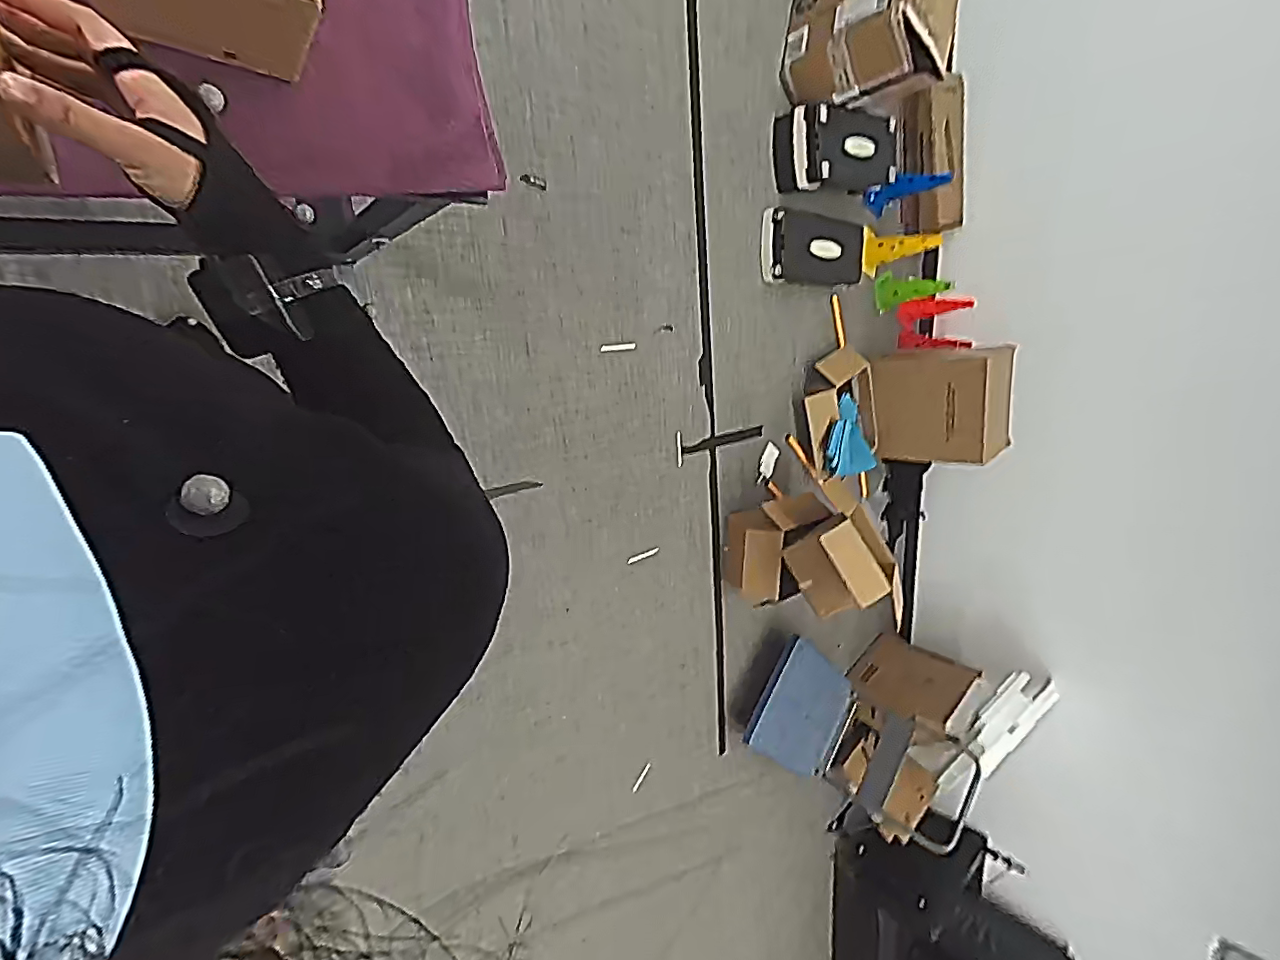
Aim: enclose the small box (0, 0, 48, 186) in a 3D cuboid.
[{"bbox_3d":[-0.433,-0.272,0.257,0.168,0.176,0.179,-12,103,-38],"label":"small box"}]
